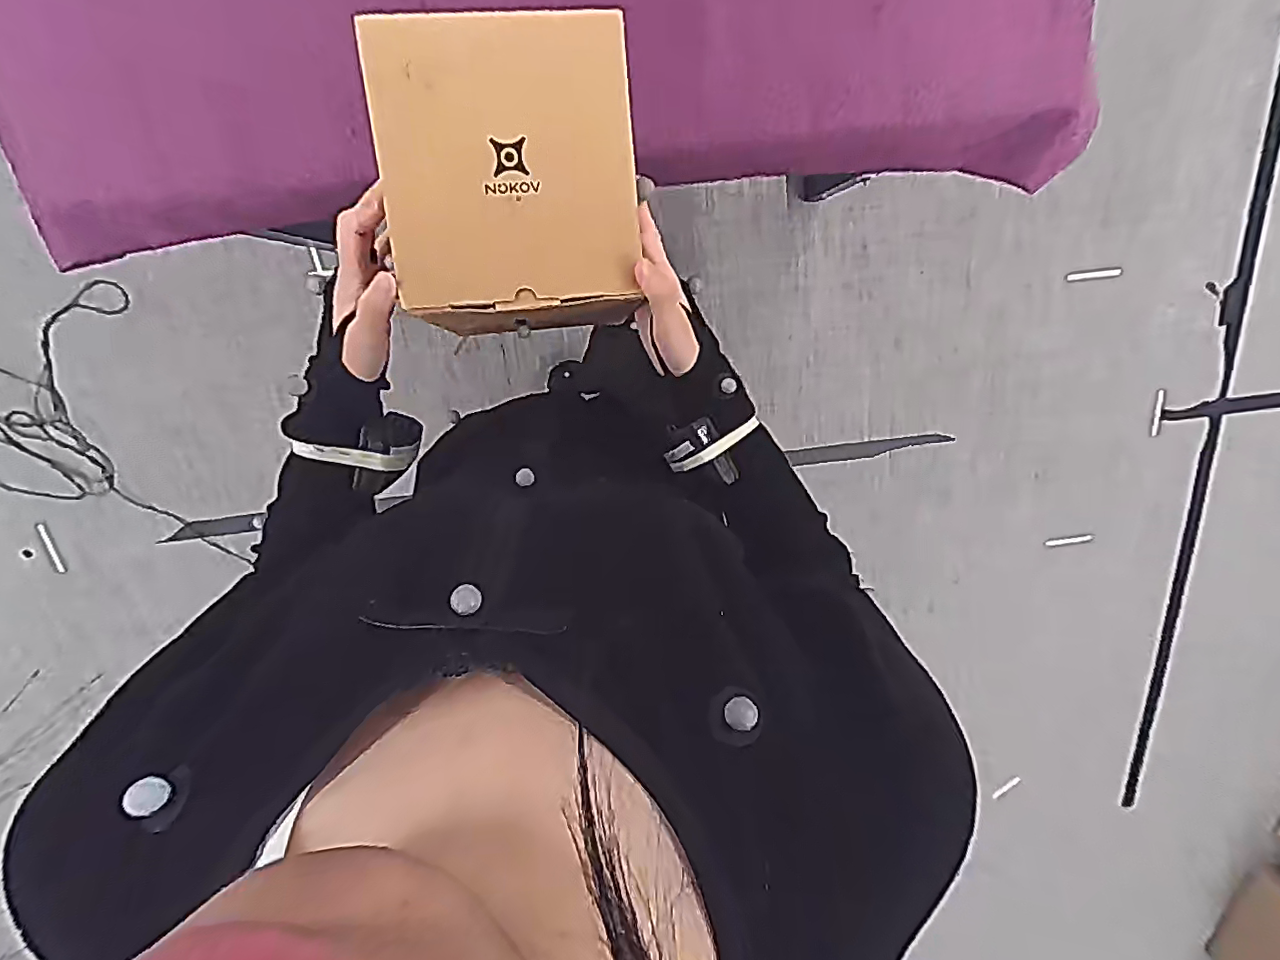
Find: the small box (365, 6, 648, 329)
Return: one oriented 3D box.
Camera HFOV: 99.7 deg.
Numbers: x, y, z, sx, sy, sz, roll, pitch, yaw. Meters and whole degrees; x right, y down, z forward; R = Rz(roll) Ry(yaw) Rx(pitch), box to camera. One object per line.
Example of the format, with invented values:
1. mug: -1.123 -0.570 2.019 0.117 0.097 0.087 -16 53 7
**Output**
1. small box: -0.091 -0.223 0.431 0.168 0.176 0.179 -6 101 -5
